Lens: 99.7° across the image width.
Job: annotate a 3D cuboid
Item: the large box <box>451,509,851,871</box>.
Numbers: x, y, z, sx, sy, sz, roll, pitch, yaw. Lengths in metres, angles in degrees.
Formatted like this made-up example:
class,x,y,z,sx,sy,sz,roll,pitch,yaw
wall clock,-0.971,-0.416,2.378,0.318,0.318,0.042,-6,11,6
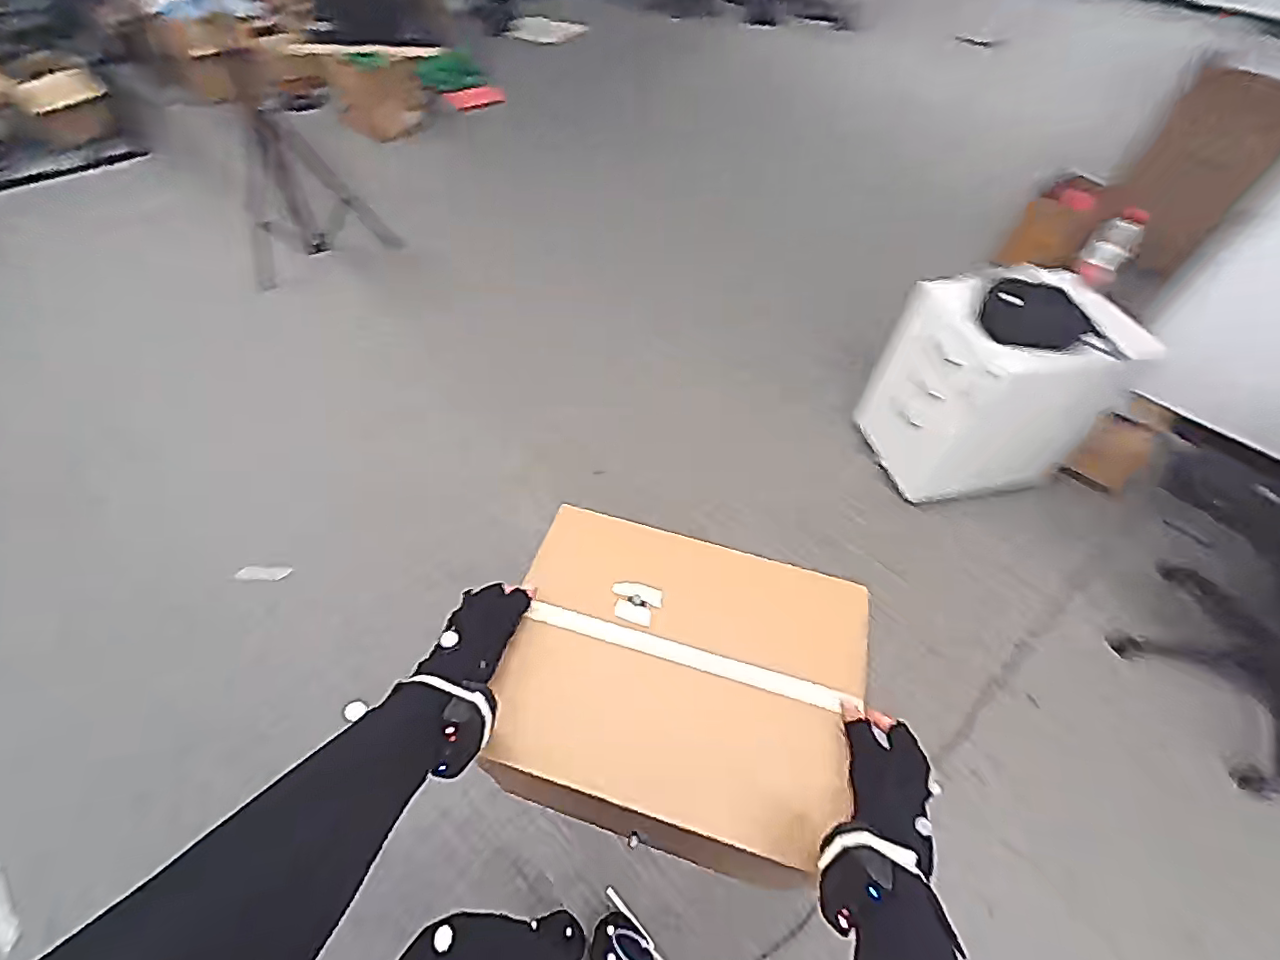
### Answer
class,x,y,z,sx,sy,sz,roll,pitch,yaw
large box,0.033,0.288,0.734,0.408,0.320,0.320,14,52,9
